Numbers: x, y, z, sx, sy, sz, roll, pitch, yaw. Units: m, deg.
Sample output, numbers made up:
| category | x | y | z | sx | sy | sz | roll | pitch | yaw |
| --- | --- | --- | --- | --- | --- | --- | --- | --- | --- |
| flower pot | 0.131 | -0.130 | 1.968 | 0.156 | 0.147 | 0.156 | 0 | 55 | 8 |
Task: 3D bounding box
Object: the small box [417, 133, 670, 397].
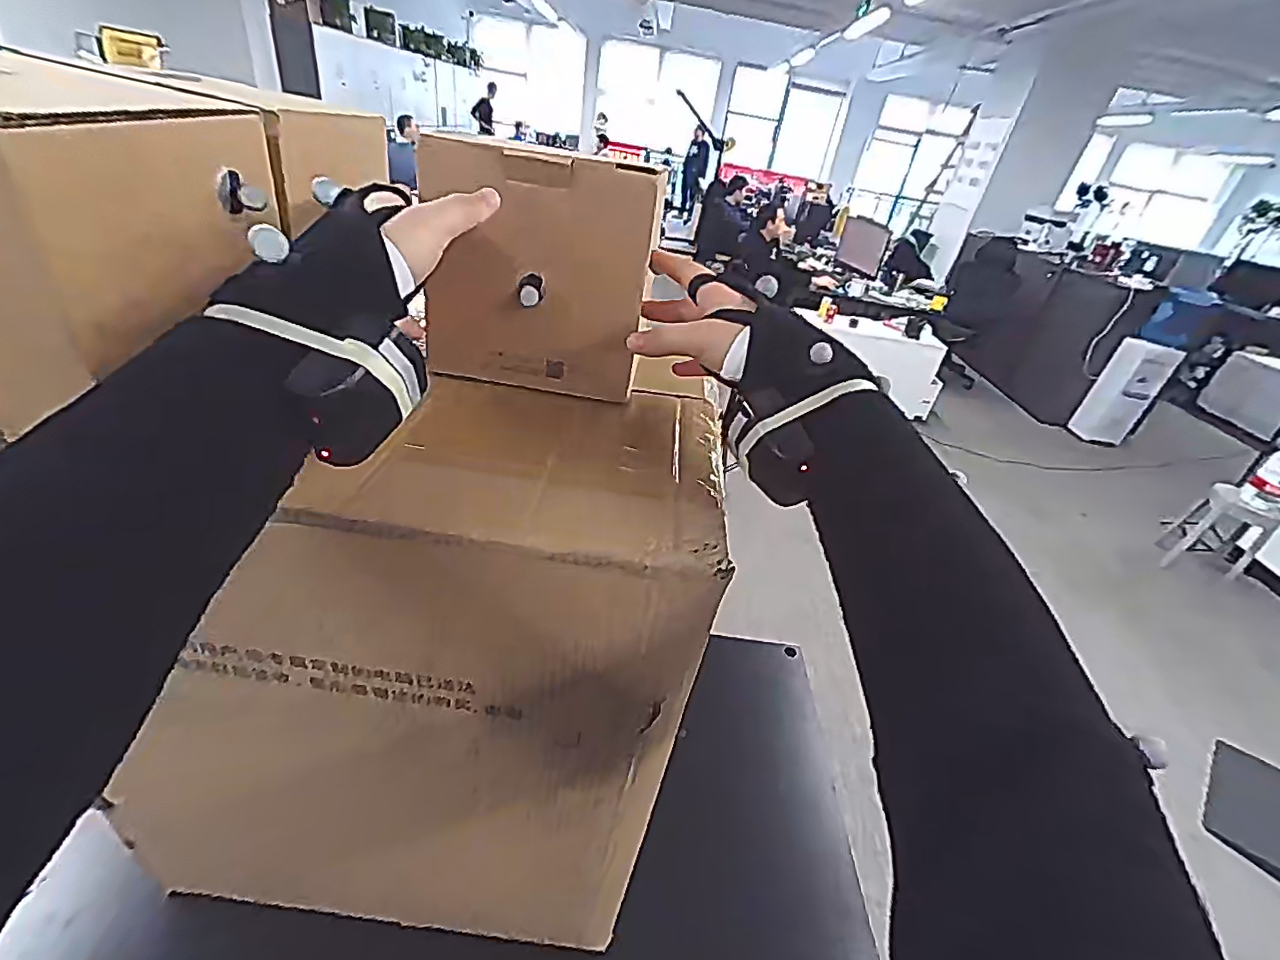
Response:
| category | x | y | z | sx | sy | sz | roll | pitch | yaw |
| --- | --- | --- | --- | --- | --- | --- | --- | --- | --- |
| small box | -0.071 | -0.186 | 0.466 | 0.168 | 0.176 | 0.179 | 10 | 32 | -2 |
